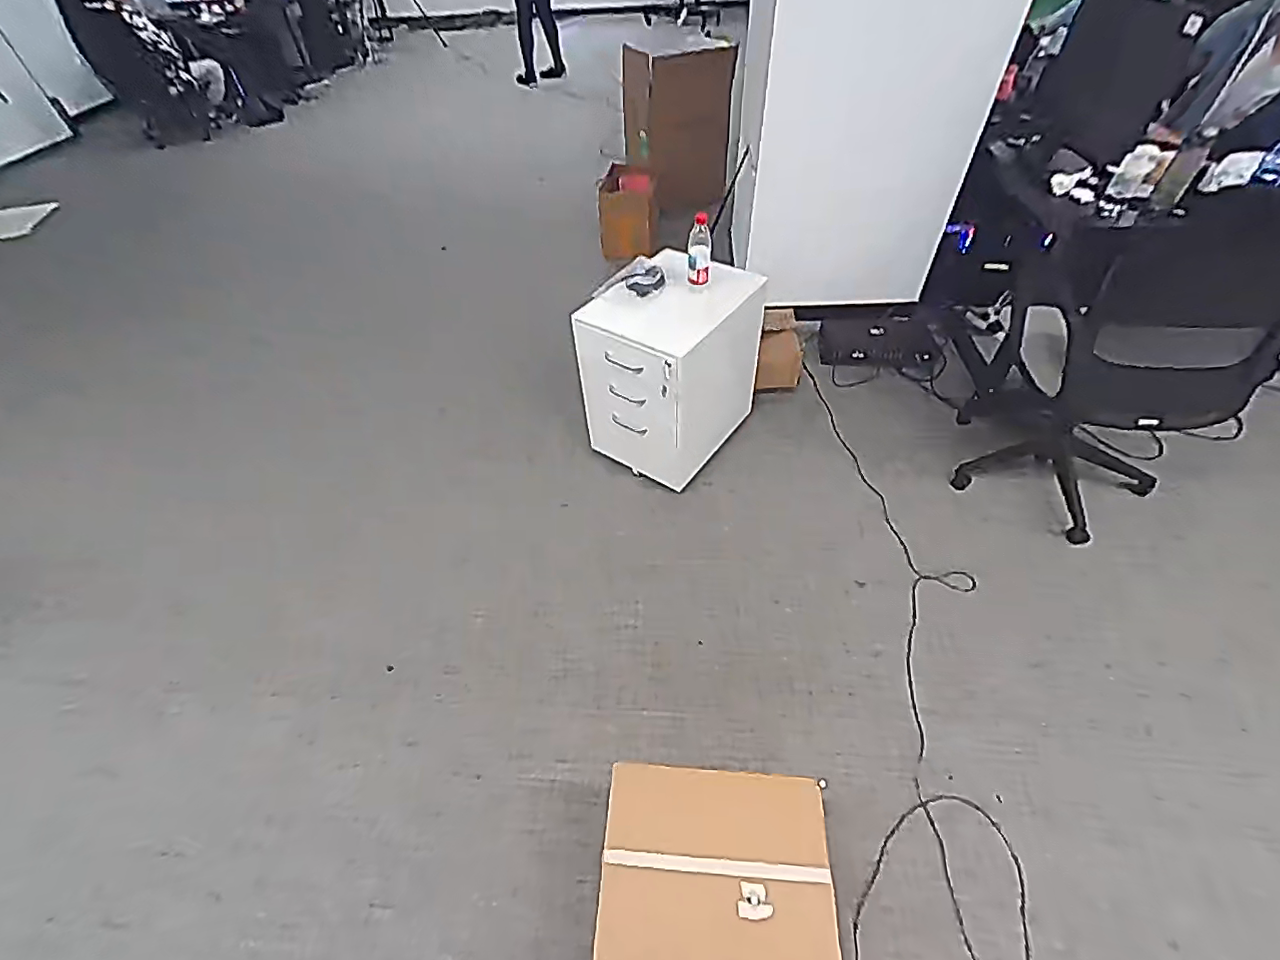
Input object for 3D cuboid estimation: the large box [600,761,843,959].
[{"bbox_3d":[0.145,0.786,1.082,0.408,0.320,0.320,2,49,5],"label":"large box"}]
